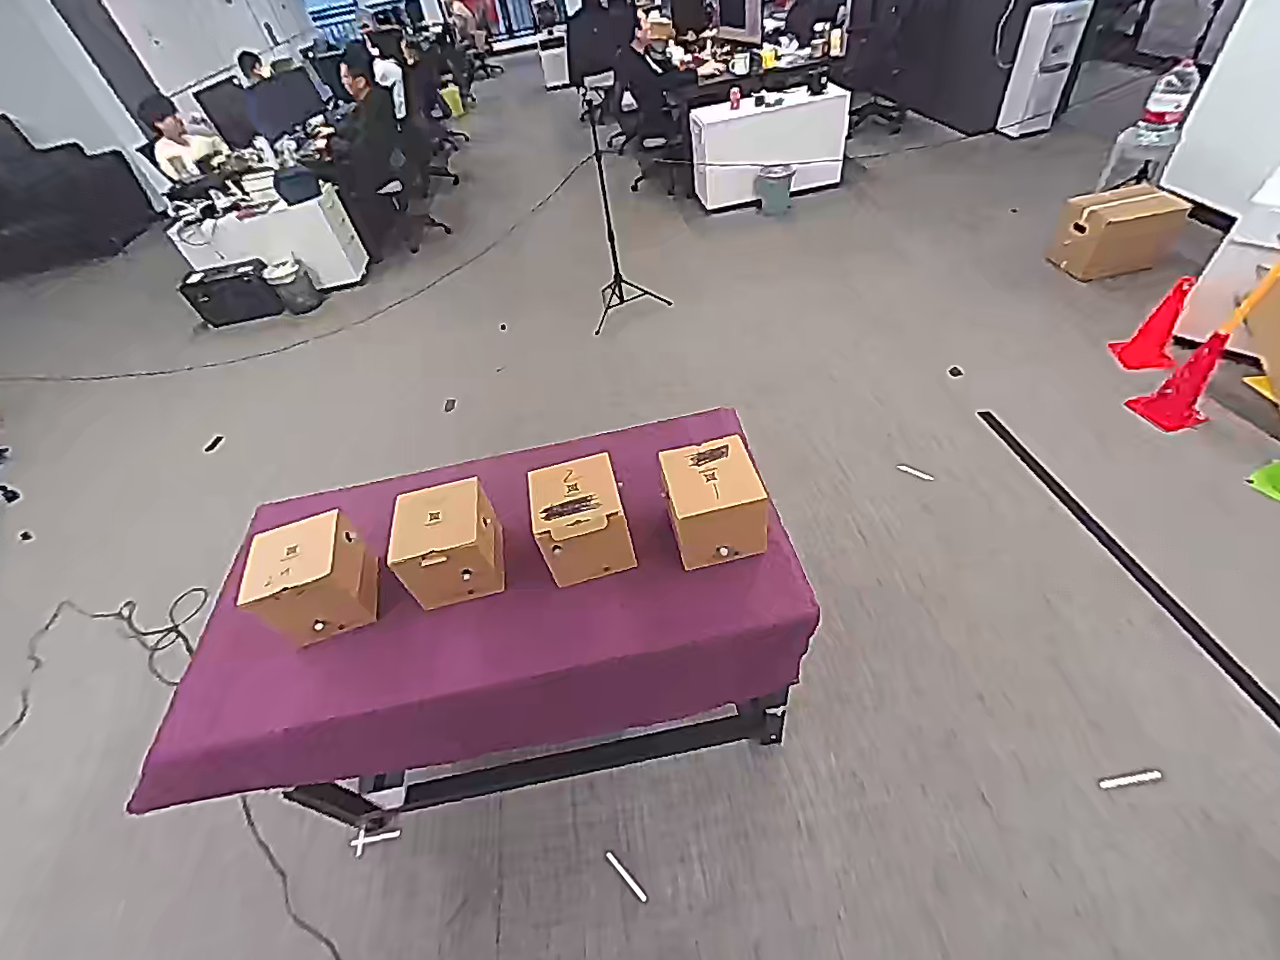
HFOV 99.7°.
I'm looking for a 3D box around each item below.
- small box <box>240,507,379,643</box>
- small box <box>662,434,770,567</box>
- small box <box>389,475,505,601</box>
[{"bbox_3d":[-0.635,0.188,1.065,0.168,0.176,0.179,-19,47,-6],"label":"small box"},{"bbox_3d":[0.145,0.042,1.054,0.168,0.176,0.179,-13,47,-1],"label":"small box"},{"bbox_3d":[-0.374,0.123,1.080,0.168,0.176,0.179,-13,46,-2],"label":"small box"}]
